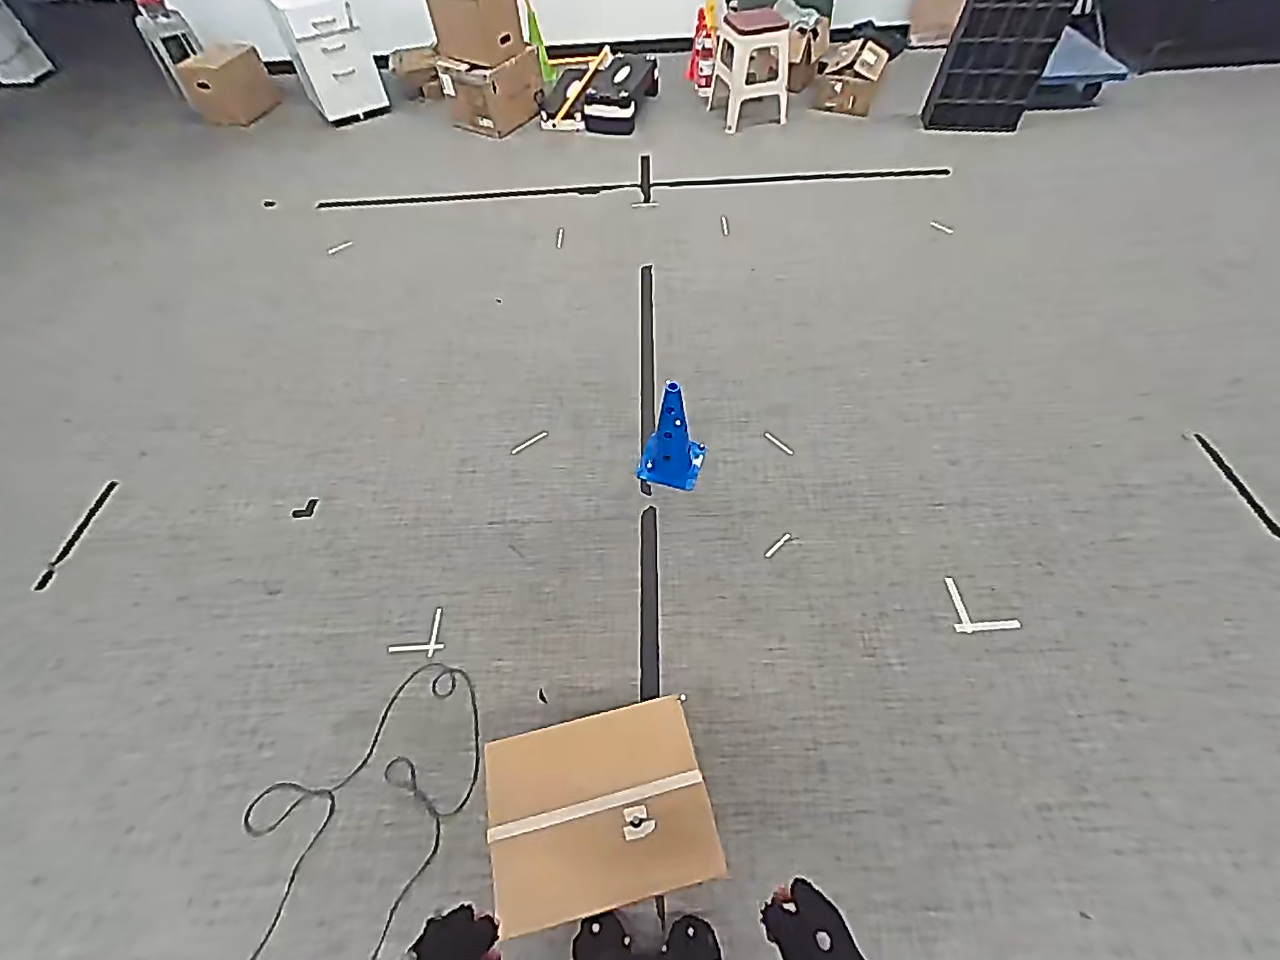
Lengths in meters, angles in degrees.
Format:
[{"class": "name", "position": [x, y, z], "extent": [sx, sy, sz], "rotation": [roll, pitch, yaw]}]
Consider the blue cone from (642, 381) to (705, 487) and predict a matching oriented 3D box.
[{"class": "blue cone", "position": [0.108, -0.158, 1.704], "extent": [0.193, 0.380, 0.192], "rotation": [16, 57, 13]}]

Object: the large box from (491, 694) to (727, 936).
[{"class": "large box", "position": [-0.066, 0.696, 1.134], "extent": [0.408, 0.320, 0.320], "rotation": [-12, 54, -6]}]
